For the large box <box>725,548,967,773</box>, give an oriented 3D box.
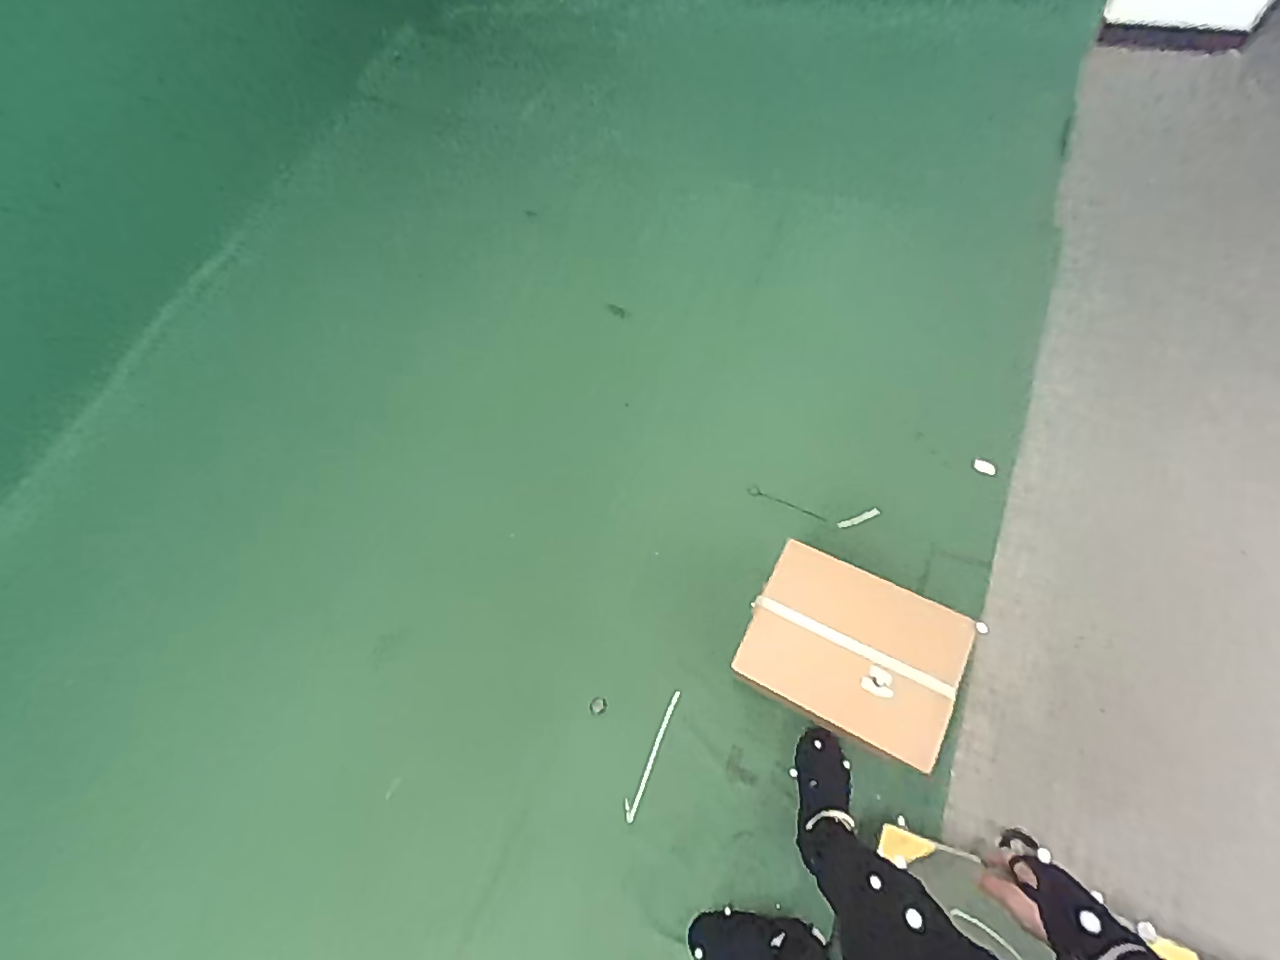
[{"bbox_3d":[0.441,0.408,1.244,0.408,0.320,0.320,24,73,16],"label":"large box"}]
